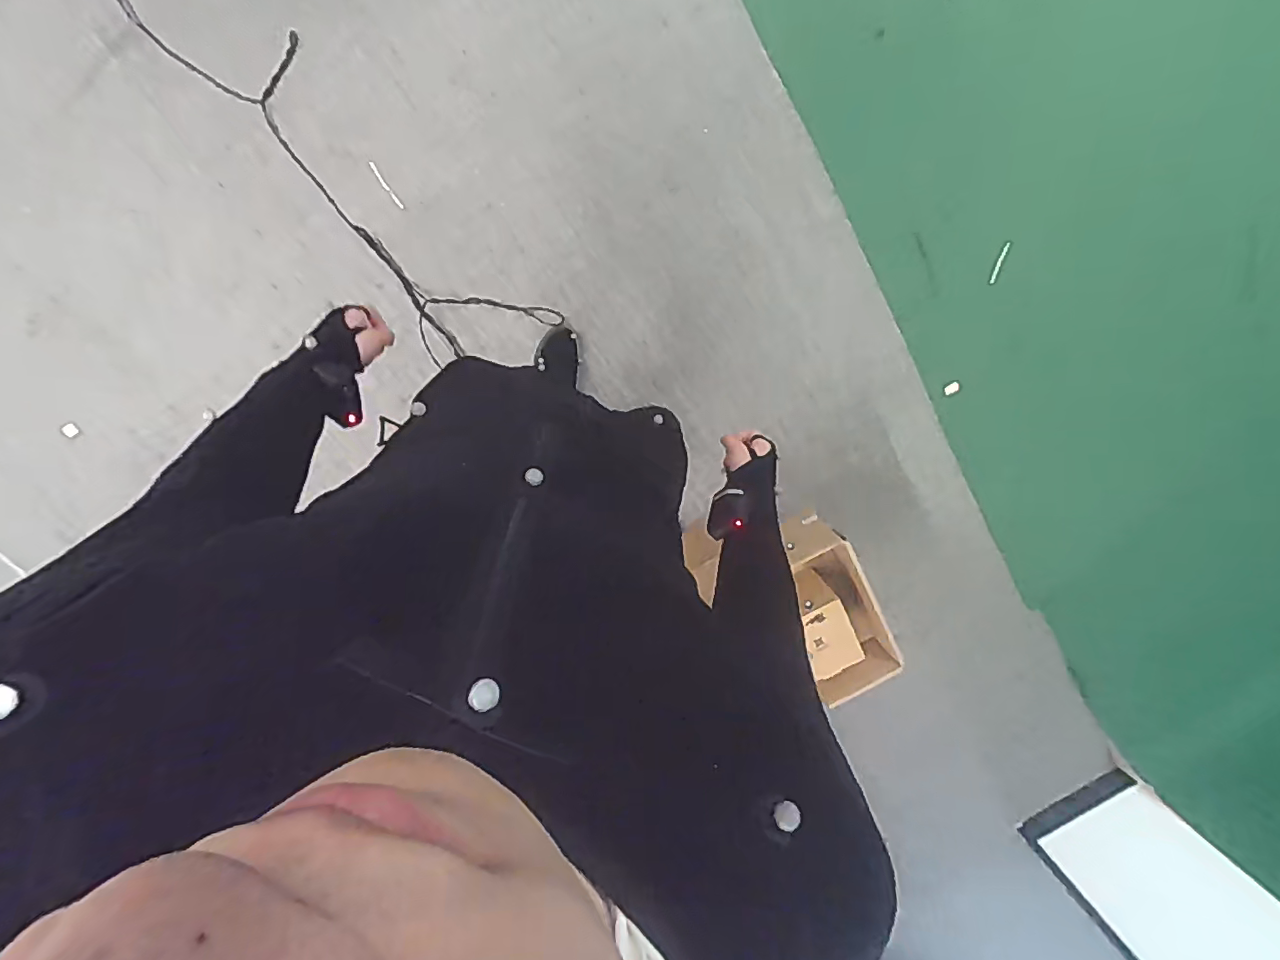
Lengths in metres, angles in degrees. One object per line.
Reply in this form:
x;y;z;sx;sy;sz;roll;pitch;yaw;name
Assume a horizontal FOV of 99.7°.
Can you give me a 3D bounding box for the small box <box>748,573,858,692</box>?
0.380;0.354;1.279;0.168;0.176;0.179;-27;107;1;small box
